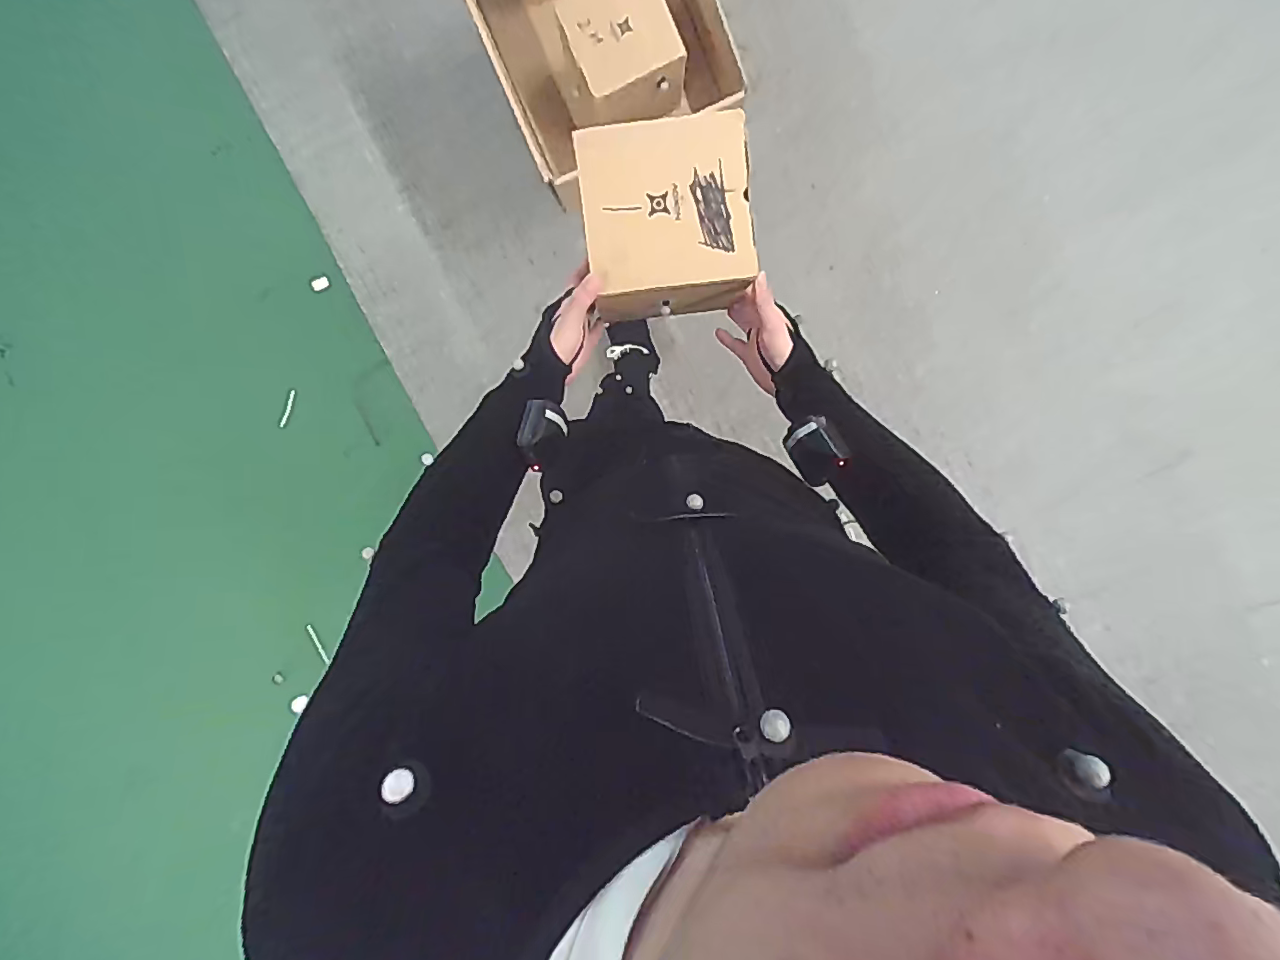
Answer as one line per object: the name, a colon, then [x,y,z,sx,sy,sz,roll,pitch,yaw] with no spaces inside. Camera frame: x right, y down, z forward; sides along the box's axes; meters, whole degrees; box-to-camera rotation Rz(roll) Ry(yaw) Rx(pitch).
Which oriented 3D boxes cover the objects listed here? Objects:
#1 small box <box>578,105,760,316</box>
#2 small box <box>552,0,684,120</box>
small box: [0.029,-0.295,0.628,0.179,0.176,0.168,-7,97,0]
small box: [-0.037,-0.763,0.976,0.179,0.176,0.168,-25,98,4]
